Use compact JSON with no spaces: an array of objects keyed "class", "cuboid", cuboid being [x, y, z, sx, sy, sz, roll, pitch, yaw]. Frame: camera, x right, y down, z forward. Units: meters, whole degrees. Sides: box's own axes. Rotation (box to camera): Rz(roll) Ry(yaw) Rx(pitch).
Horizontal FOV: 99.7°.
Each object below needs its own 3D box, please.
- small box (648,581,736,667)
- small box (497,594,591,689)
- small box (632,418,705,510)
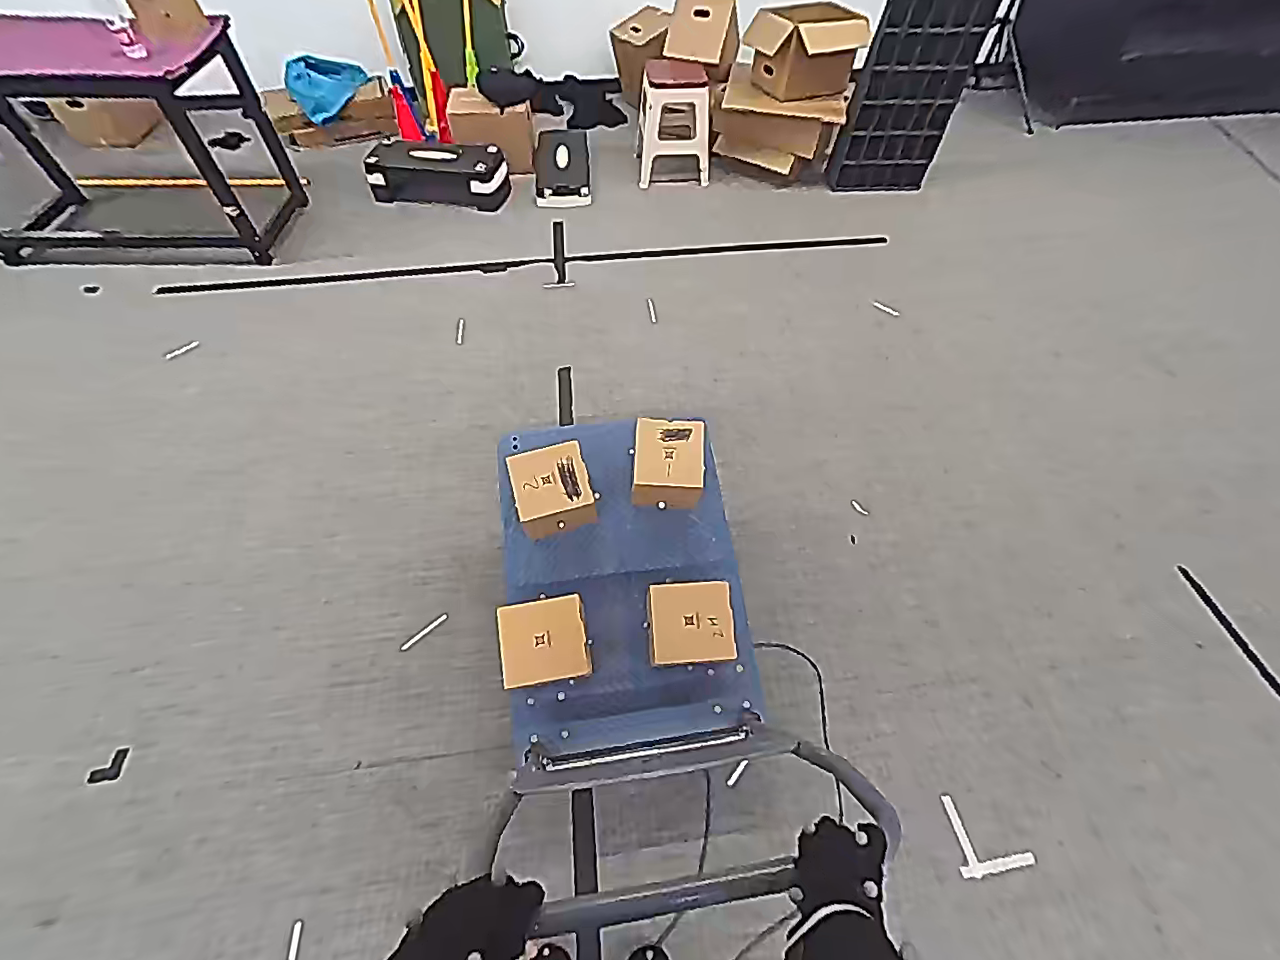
[{"class":"small box","cuboid":[0.108,0.329,1.222,0.179,0.176,0.168,-2,69,-4]},{"class":"small box","cuboid":[-0.207,0.360,1.193,0.179,0.176,0.168,-9,69,-8]},{"class":"small box","cuboid":[0.067,-0.037,1.362,0.168,0.176,0.179,4,70,-2]}]
